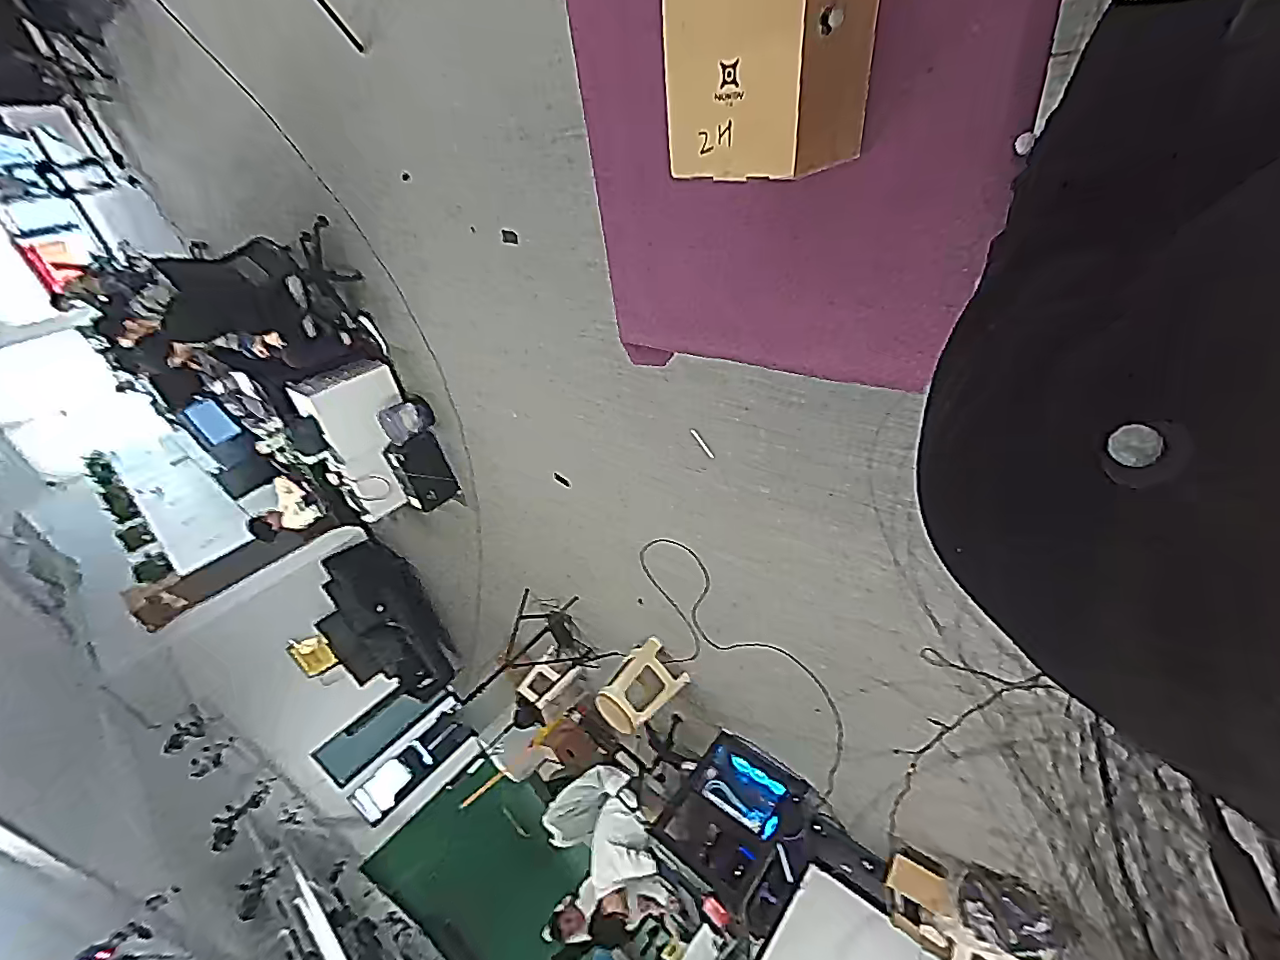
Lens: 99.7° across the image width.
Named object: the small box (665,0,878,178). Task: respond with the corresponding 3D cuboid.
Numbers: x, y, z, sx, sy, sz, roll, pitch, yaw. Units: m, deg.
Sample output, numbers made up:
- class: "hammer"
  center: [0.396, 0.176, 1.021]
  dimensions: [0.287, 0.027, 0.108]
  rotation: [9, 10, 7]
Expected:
- class: "small box"
  center: [0.146, -0.451, 0.604]
  dimensions: [0.168, 0.176, 0.179]
  rotation: [24, 136, 35]
